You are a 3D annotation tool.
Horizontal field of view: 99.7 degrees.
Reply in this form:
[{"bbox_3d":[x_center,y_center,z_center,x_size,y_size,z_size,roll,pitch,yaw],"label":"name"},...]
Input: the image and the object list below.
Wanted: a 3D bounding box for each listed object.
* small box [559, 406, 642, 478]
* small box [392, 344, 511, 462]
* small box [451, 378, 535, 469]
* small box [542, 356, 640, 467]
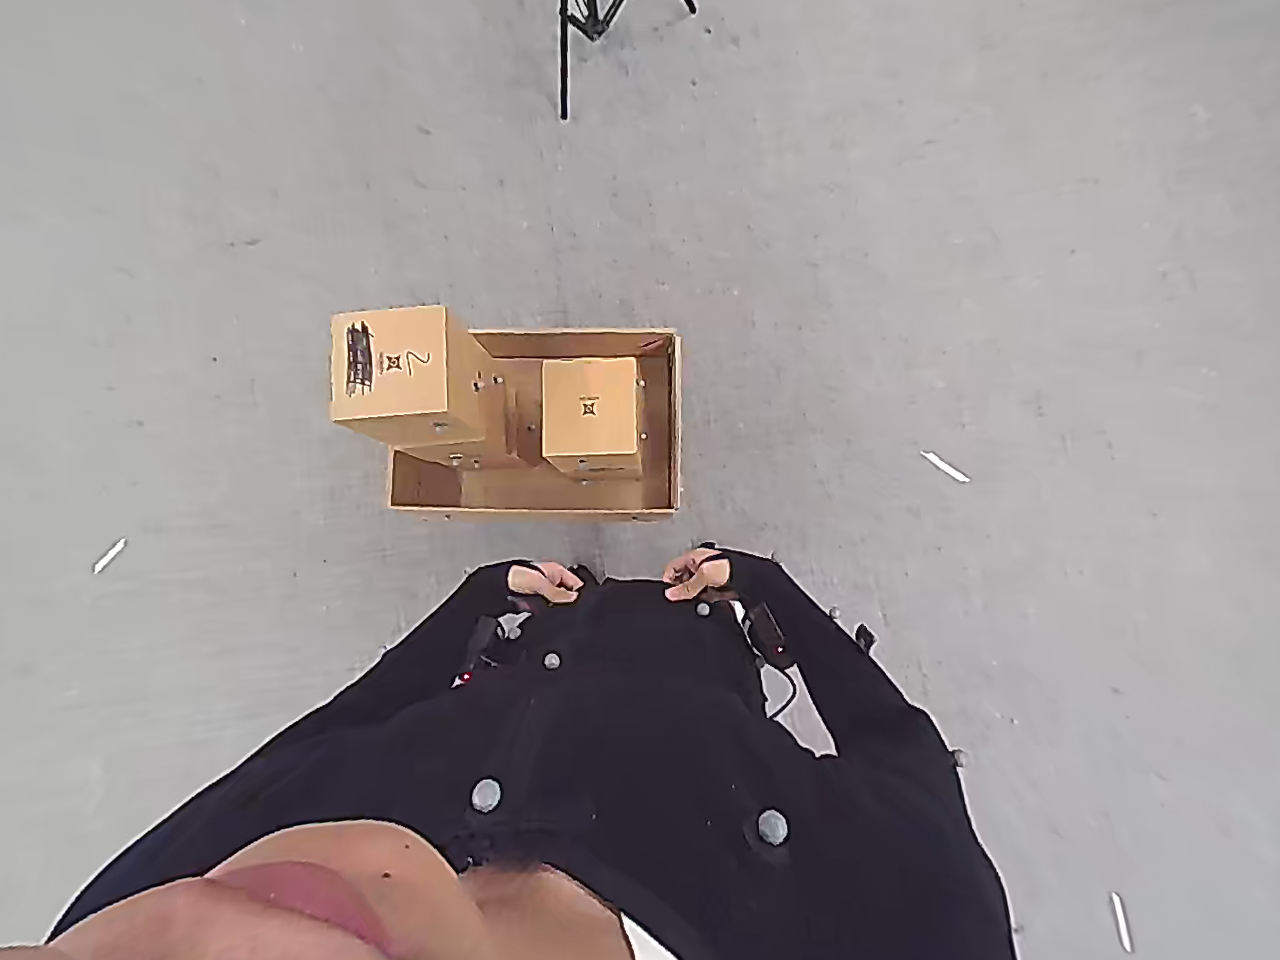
[{"bbox_3d":[-0.082,-0.099,1.183,0.168,0.176,0.179,-2,82,2],"label":"small box"},{"bbox_3d":[-0.352,-0.139,1.030,0.168,0.176,0.179,-5,83,3],"label":"small box"},{"bbox_3d":[-0.337,-0.119,1.193,0.179,0.176,0.168,-3,83,1],"label":"small box"},{"bbox_3d":[-0.086,-0.120,1.021,0.168,0.176,0.179,-2,82,2],"label":"small box"}]
